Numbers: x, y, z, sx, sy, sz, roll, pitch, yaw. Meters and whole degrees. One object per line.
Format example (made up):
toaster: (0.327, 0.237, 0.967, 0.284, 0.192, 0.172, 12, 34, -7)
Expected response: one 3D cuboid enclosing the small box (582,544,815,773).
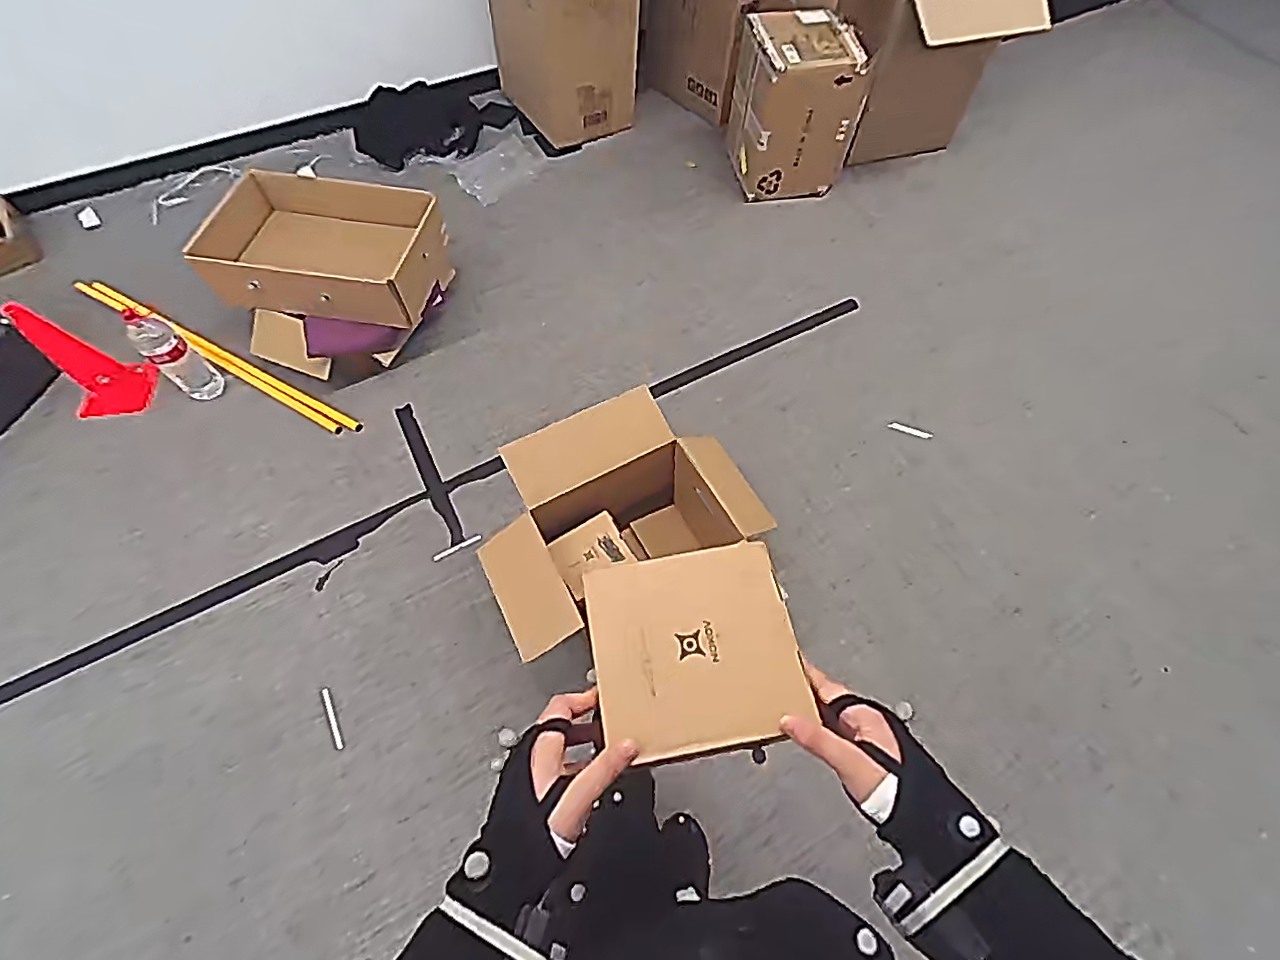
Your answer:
small box: (0.046, 0.183, 0.537, 0.179, 0.176, 0.168, -11, 60, -3)
